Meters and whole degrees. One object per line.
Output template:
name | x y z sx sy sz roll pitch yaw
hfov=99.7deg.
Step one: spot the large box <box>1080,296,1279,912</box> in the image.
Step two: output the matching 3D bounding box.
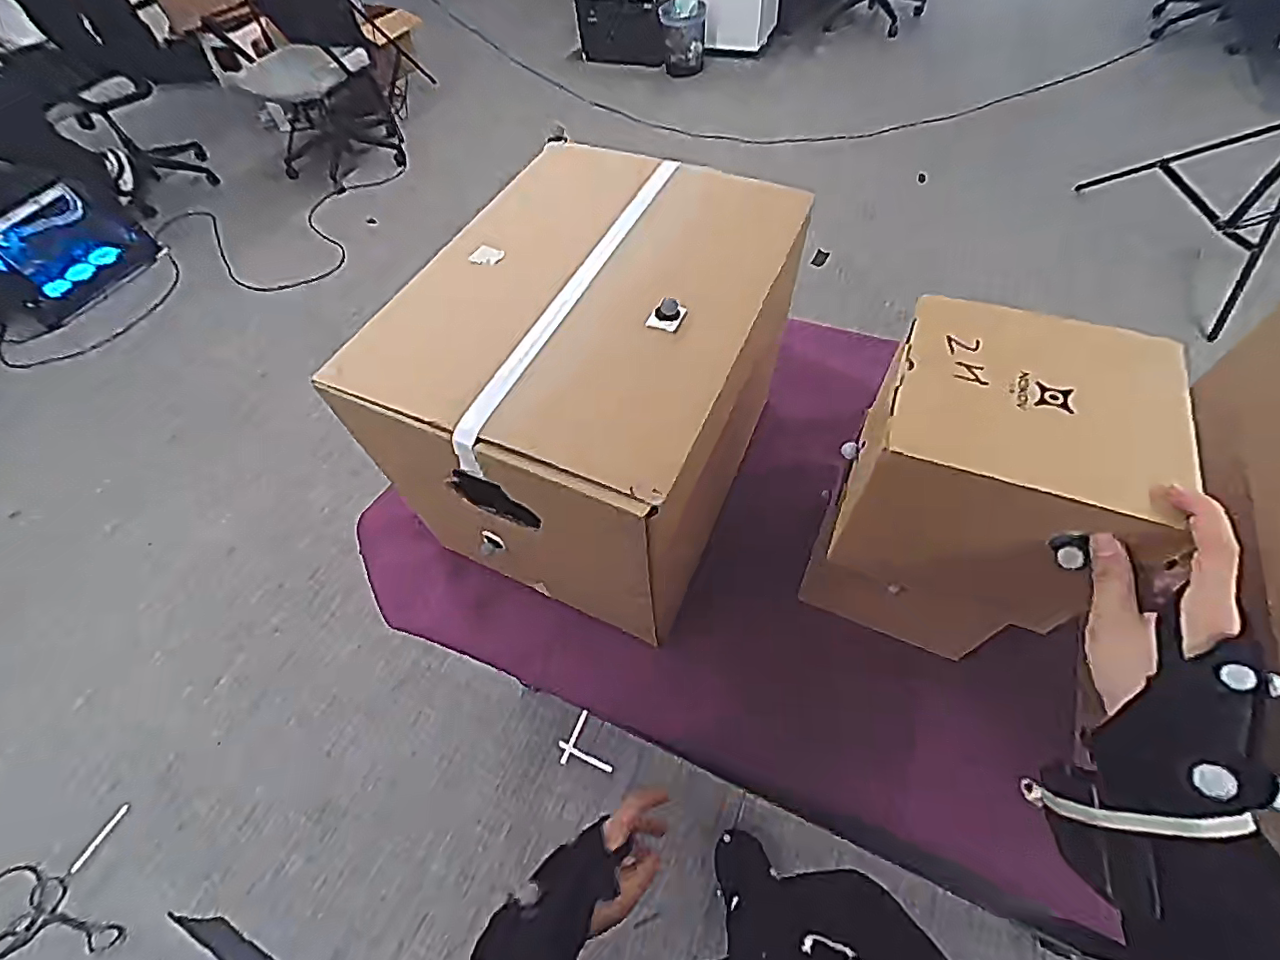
large box | 0.598 0.121 0.415 0.320 0.320 0.408 19 59 16
